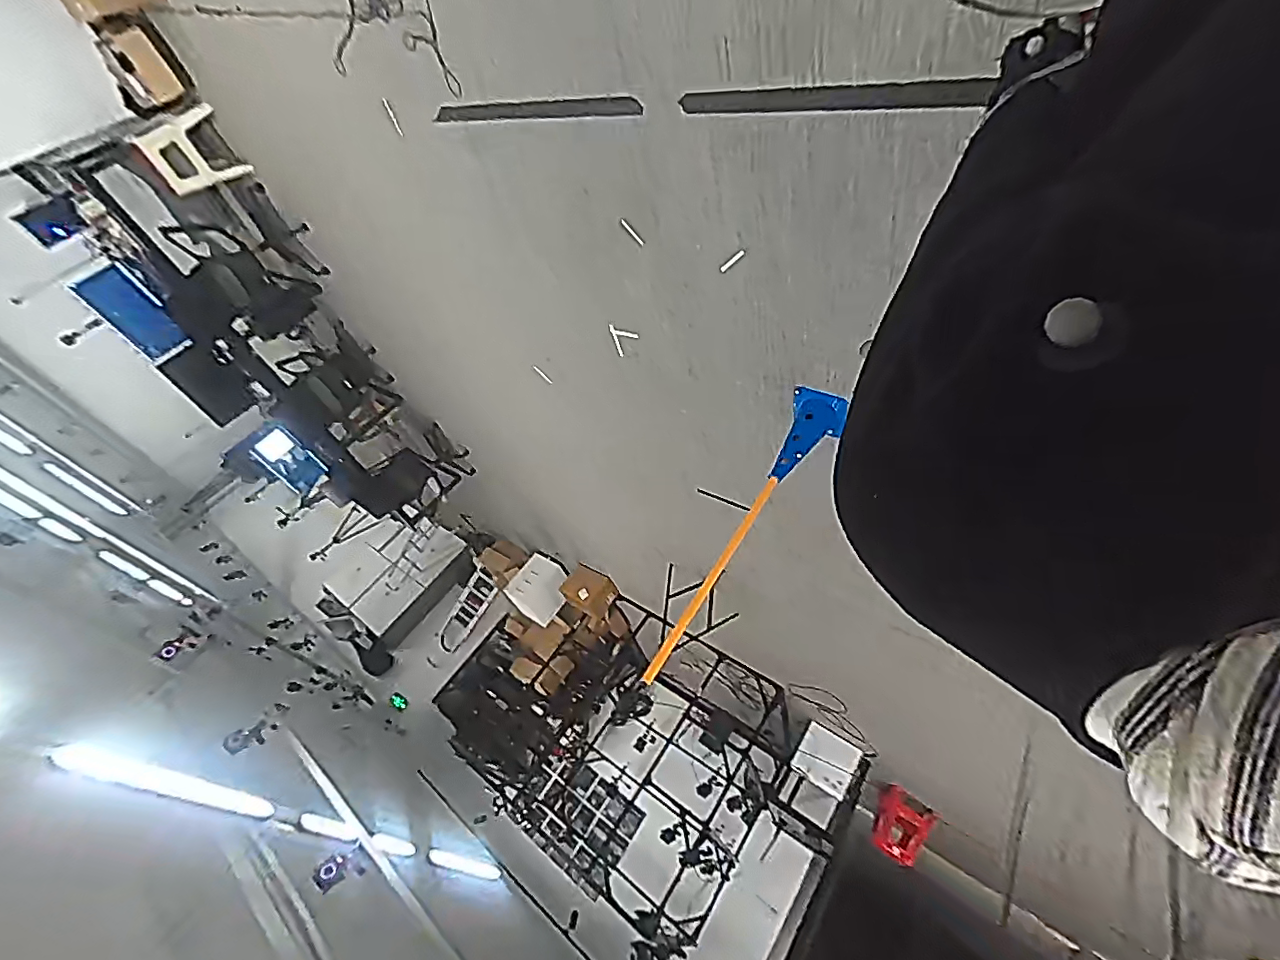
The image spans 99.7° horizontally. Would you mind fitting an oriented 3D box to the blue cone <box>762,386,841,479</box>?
[{"bbox_3d":[0.550,-0.143,1.923,0.192,0.380,0.193,25,151,29],"label":"blue cone"}]
